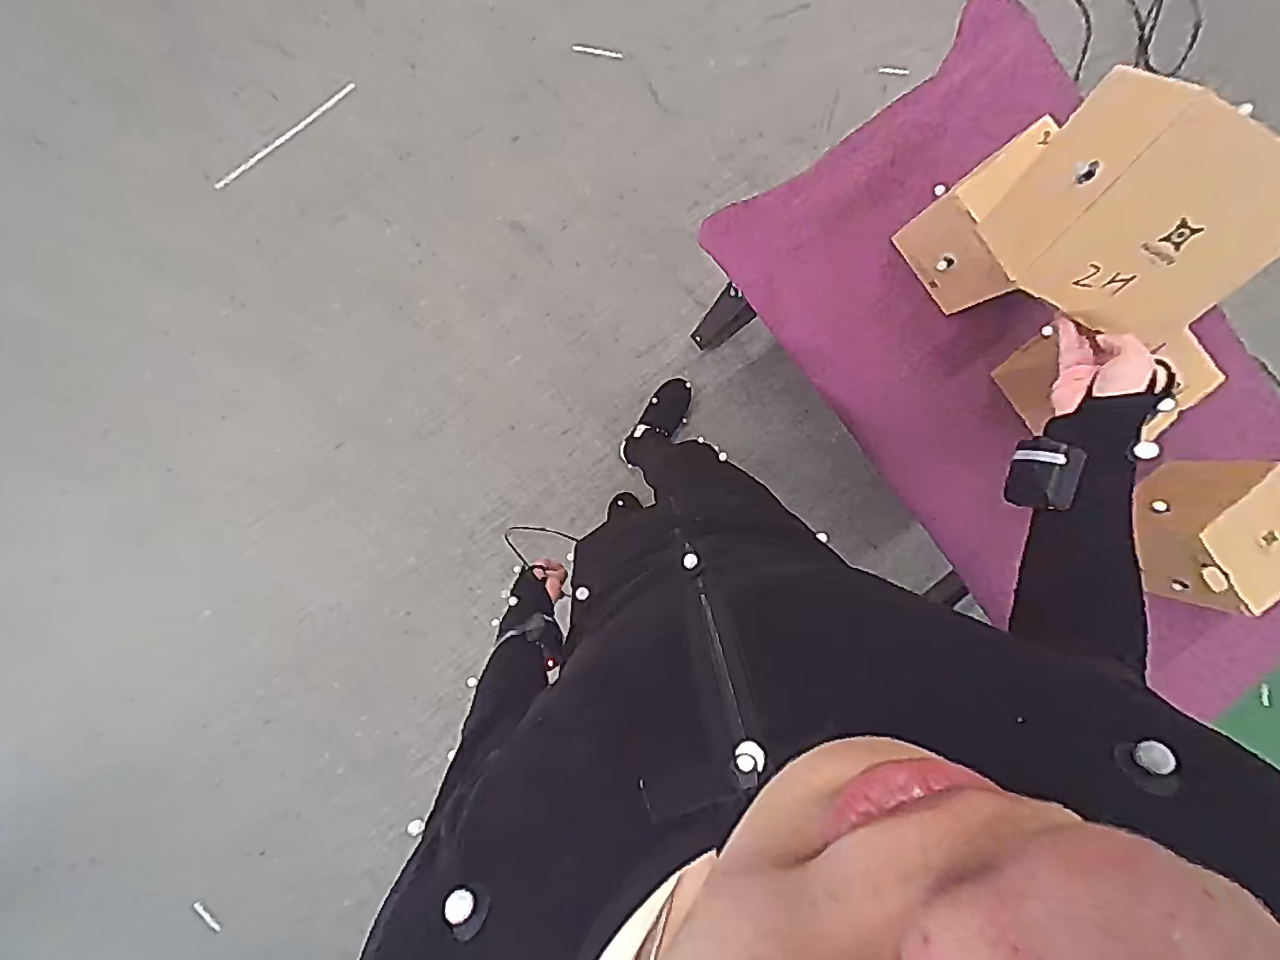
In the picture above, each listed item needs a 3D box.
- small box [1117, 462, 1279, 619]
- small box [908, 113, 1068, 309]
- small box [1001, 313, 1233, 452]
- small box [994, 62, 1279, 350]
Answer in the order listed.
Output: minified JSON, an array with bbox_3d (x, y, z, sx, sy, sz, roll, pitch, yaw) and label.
[{"bbox_3d":[0.925,0.087,0.864,0.179,0.176,0.168,-38,94,-1],"label":"small box"},{"bbox_3d":[0.543,-0.389,0.820,0.179,0.176,0.168,-39,94,0],"label":"small box"},{"bbox_3d":[0.724,-0.161,0.841,0.168,0.176,0.179,-39,93,-1],"label":"small box"},{"bbox_3d":[0.492,-0.270,0.530,0.168,0.176,0.179,26,134,-6],"label":"small box"}]
